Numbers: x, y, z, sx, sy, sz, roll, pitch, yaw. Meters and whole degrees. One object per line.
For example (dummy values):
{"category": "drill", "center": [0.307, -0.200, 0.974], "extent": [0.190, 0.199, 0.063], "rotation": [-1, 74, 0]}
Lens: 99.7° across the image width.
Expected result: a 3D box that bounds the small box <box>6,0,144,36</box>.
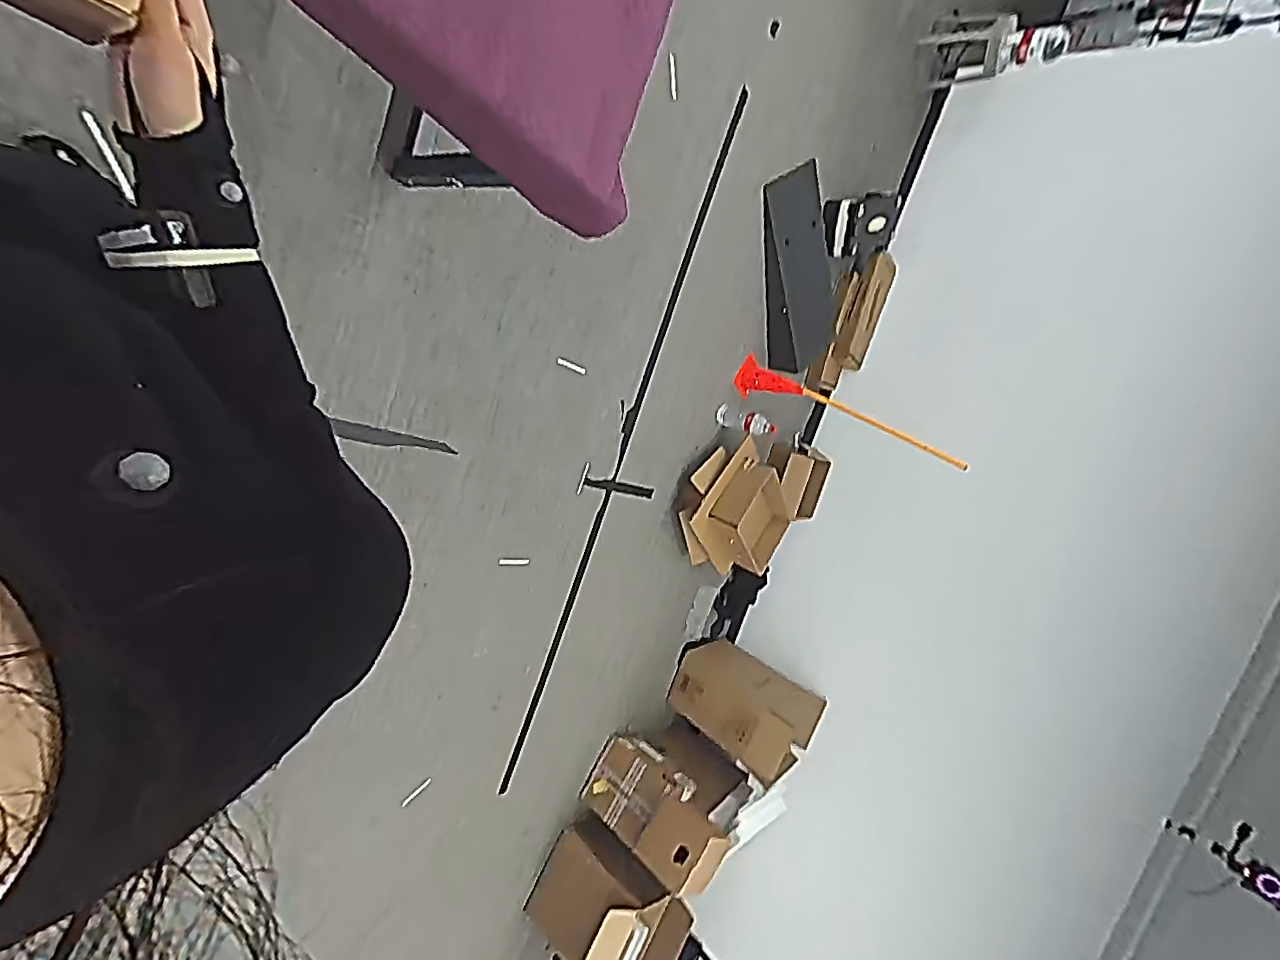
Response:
{"category": "small box", "center": [-0.320, -0.333, 0.230], "extent": [0.168, 0.176, 0.179], "rotation": [4, 112, -52]}
